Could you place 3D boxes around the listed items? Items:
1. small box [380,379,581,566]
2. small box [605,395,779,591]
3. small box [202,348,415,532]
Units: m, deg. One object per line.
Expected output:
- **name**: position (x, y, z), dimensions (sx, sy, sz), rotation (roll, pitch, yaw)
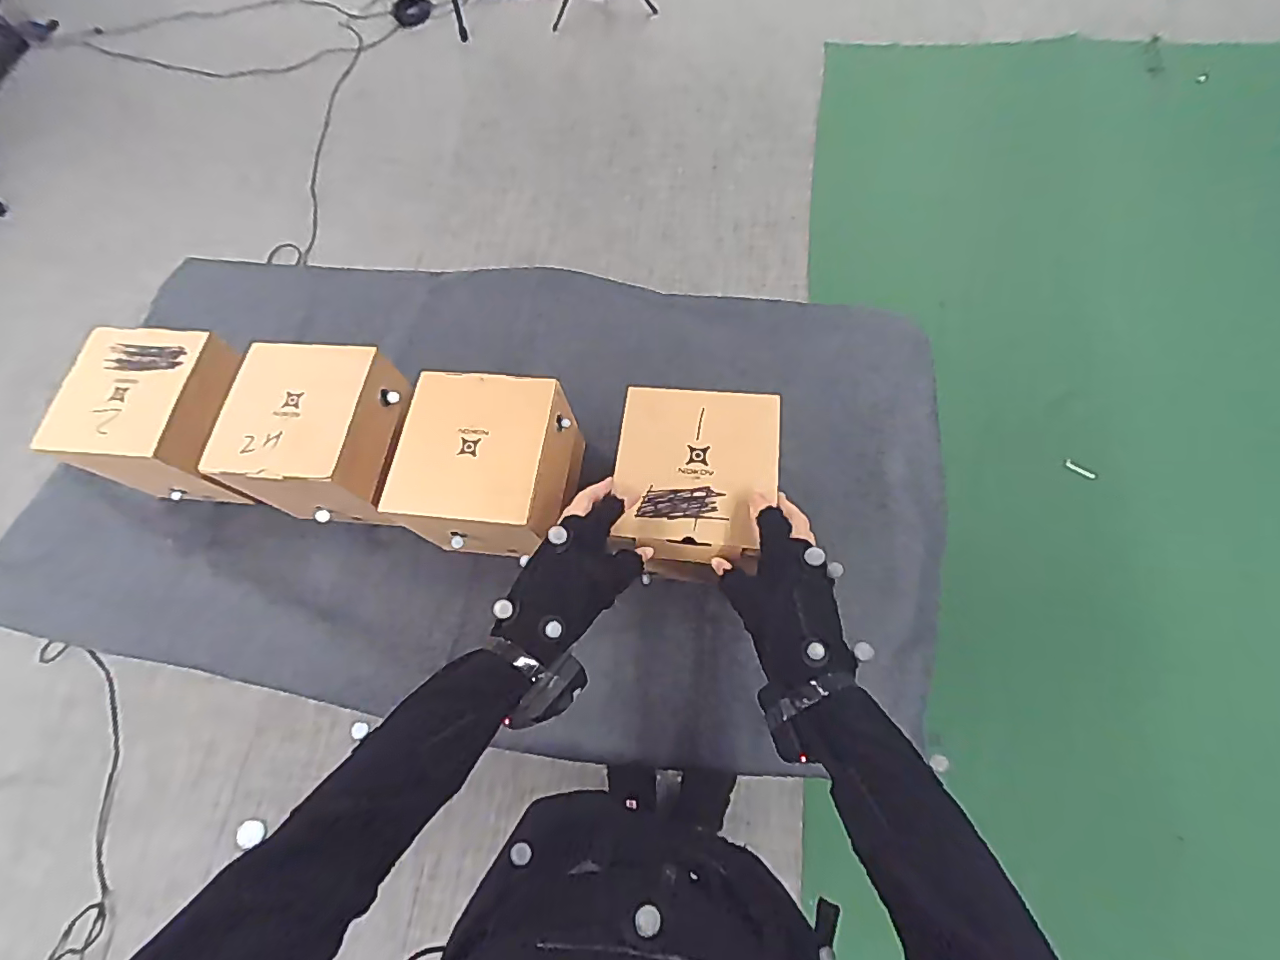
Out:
- **small box**: position (-0.176, -0.001, 0.661), dimensions (0.168, 0.176, 0.179), rotation (5, 67, 7)
- **small box**: position (0.064, 0.023, 0.625), dimensions (0.168, 0.176, 0.179), rotation (5, 67, 8)
- **small box**: position (-0.393, -0.046, 0.698), dimensions (0.168, 0.176, 0.179), rotation (4, 68, 7)
